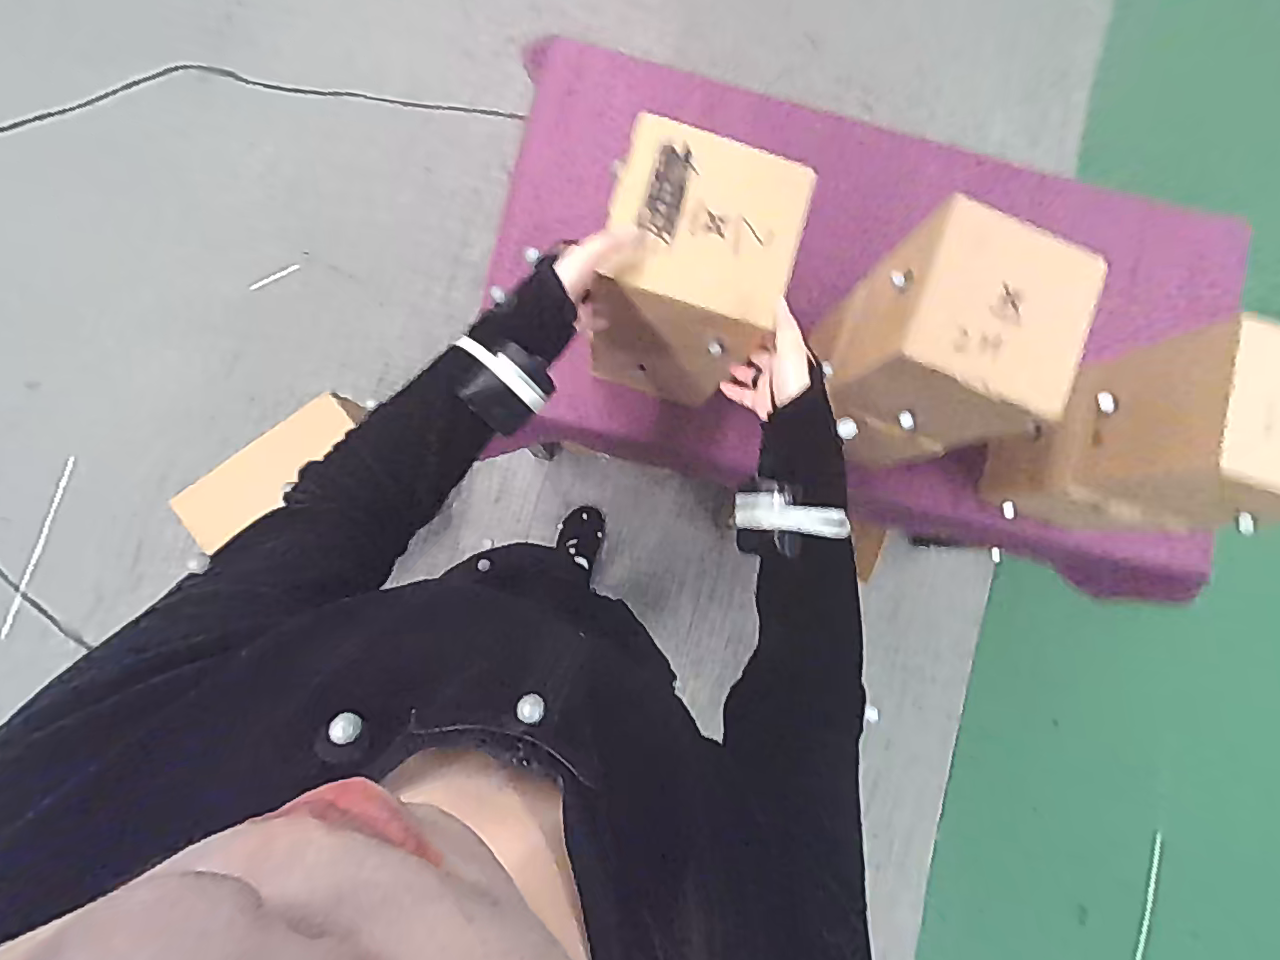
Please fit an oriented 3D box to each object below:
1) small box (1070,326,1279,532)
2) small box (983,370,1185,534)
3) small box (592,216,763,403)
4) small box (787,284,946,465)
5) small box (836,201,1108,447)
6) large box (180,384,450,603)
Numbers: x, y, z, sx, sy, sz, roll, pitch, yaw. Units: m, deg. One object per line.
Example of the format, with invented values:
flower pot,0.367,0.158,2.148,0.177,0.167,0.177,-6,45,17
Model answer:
small box,0.649,-0.044,0.610,0.179,0.176,0.168,19,83,-2
small box,0.632,-0.029,0.772,0.168,0.176,0.179,18,83,-3
small box,0.043,-0.218,0.741,0.179,0.176,0.168,18,85,-2
small box,0.329,-0.134,0.759,0.168,0.176,0.179,22,84,-2
small box,0.345,-0.154,0.596,0.168,0.176,0.179,24,84,-2
large box,-0.753,0.039,1.320,0.408,0.320,0.320,-38,90,-7
